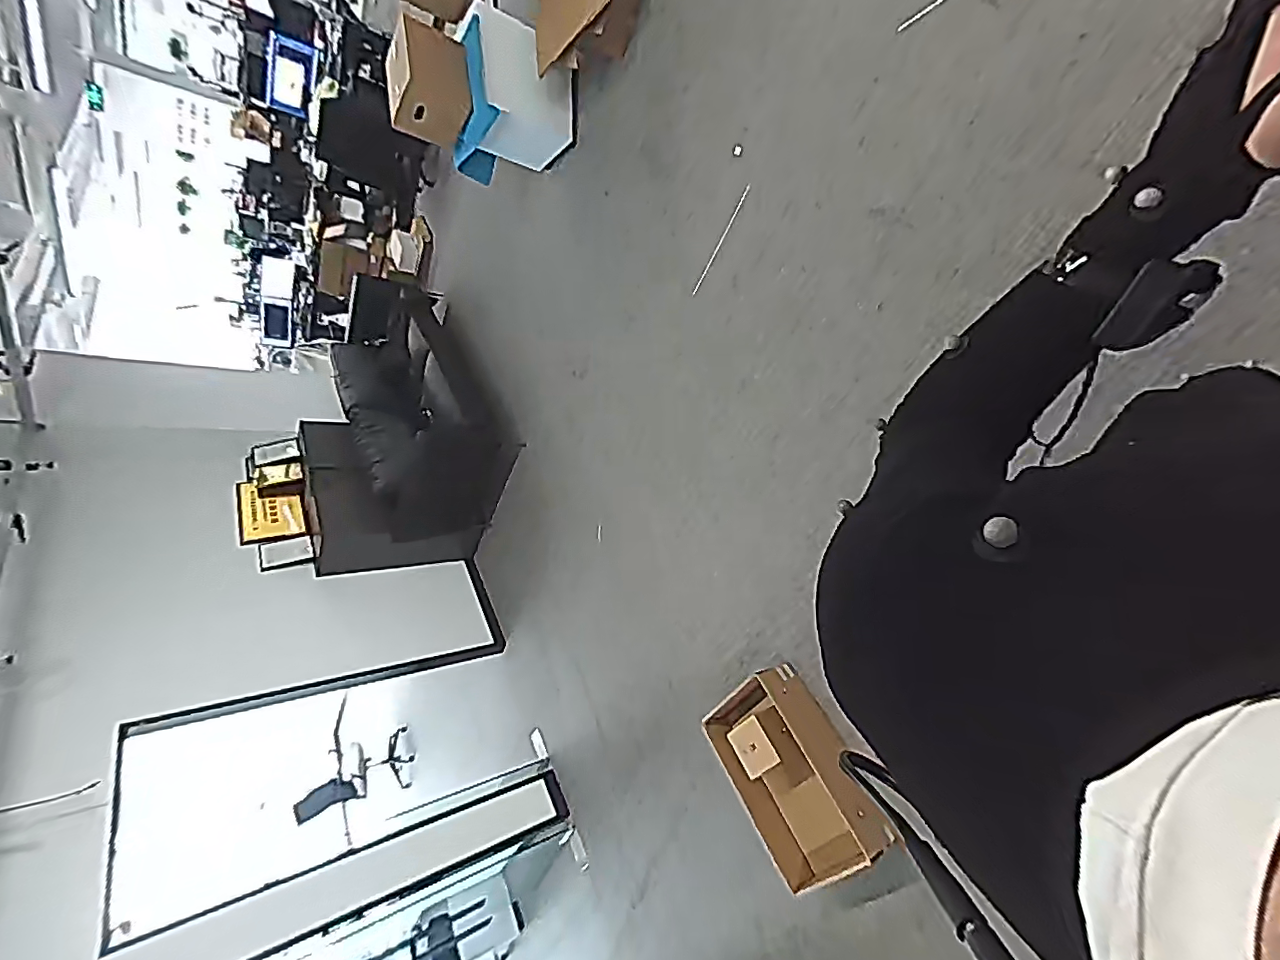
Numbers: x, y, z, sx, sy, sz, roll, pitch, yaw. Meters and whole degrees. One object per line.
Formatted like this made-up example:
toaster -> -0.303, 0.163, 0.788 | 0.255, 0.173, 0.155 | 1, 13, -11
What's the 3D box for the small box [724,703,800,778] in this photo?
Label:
small box -> 0.442, 0.921, 1.922 | 0.179, 0.176, 0.168 | -56, 50, 35
